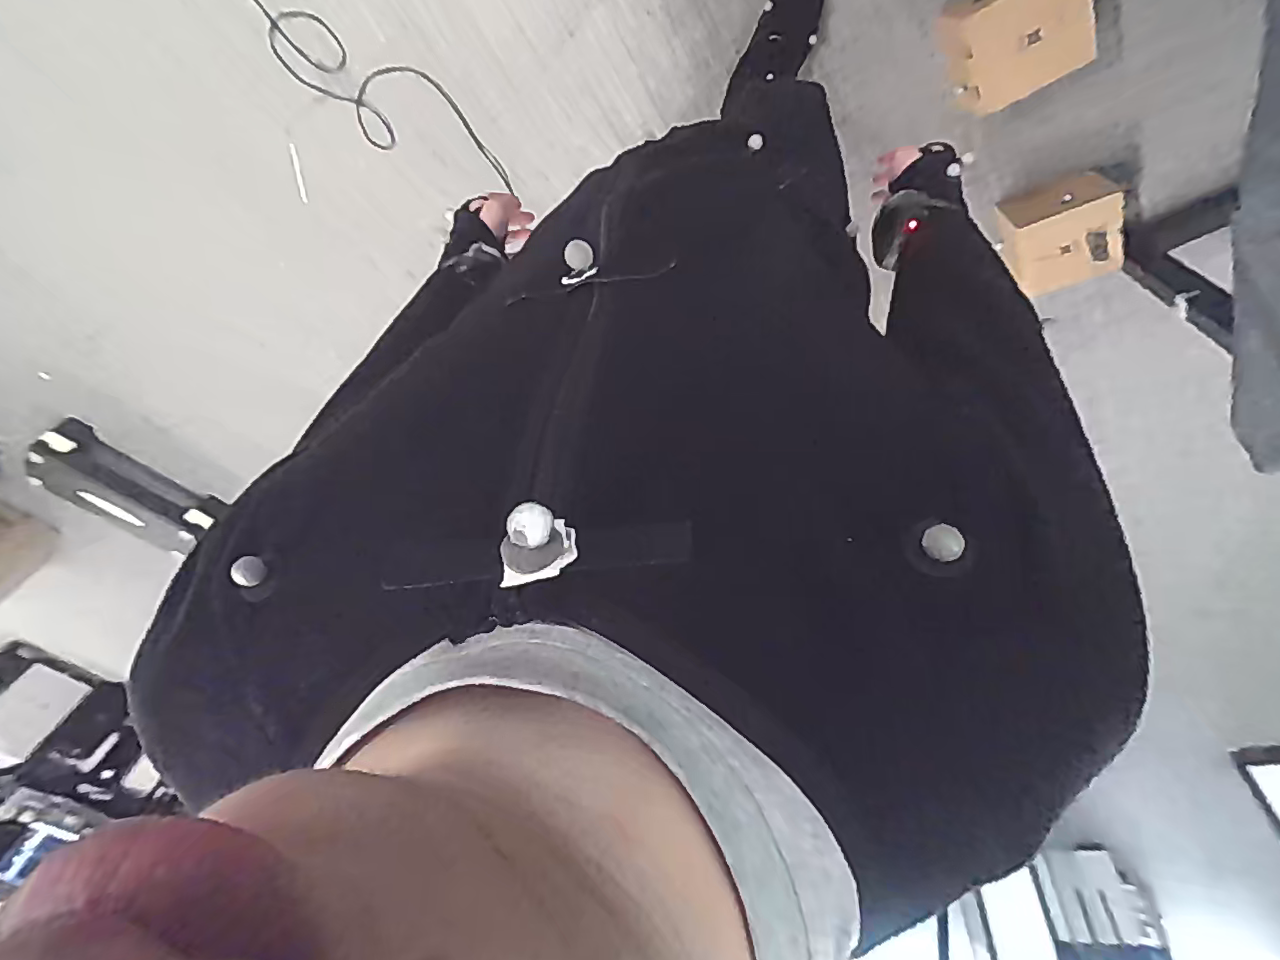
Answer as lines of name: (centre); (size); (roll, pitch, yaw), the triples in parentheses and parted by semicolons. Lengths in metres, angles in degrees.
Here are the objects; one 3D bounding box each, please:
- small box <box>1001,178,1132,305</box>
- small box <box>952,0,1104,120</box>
small box: (0.904, -0.512, 1.156); (0.179, 0.176, 0.168); (-15, 126, 27)
small box: (0.681, -0.789, 0.967); (0.179, 0.176, 0.168); (-21, 125, 27)
